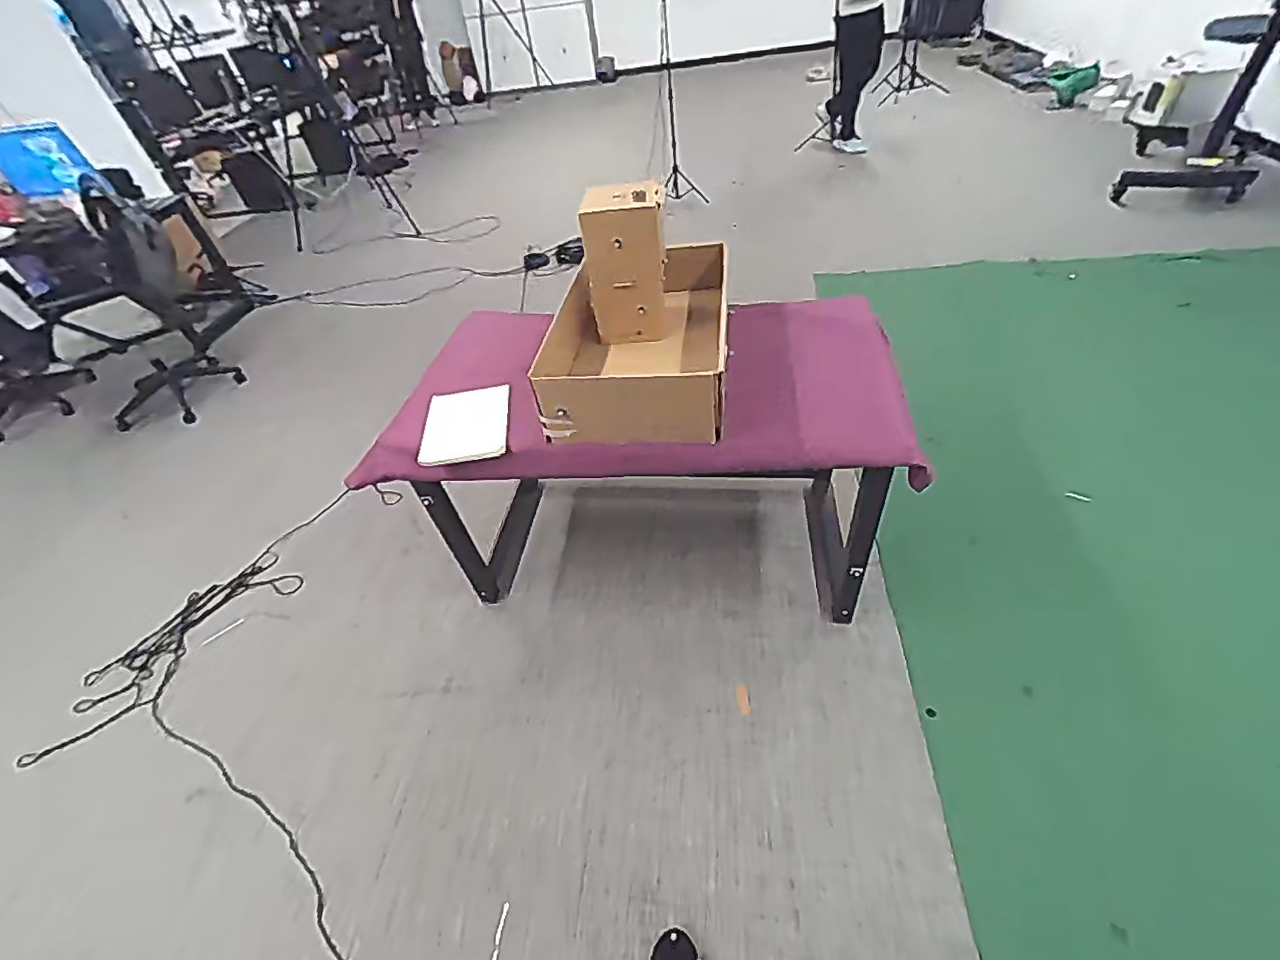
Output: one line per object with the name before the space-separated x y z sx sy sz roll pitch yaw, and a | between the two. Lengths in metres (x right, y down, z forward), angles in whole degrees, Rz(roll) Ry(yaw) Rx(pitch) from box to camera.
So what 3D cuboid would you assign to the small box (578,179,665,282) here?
small box | -0.034 -0.588 1.281 0.179 0.176 0.168 -2 46 8
